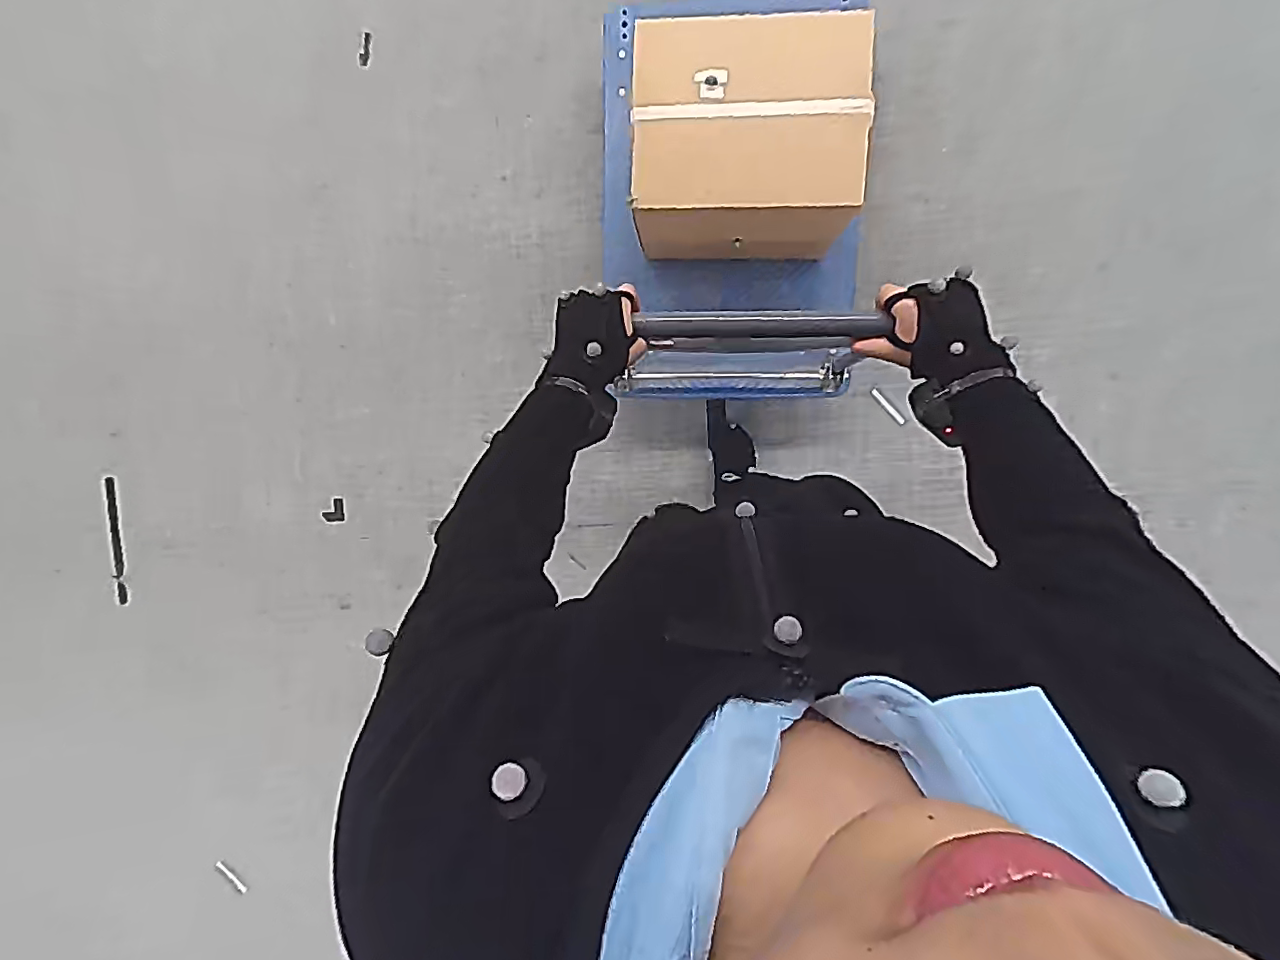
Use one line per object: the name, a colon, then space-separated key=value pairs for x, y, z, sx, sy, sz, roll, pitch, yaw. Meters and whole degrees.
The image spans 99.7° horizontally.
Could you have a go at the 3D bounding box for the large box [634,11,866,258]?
large box: x=0.205 y=-0.655 z=1.093 sx=0.408 sy=0.320 sz=0.320 roll=1 pitch=95 yaw=6
